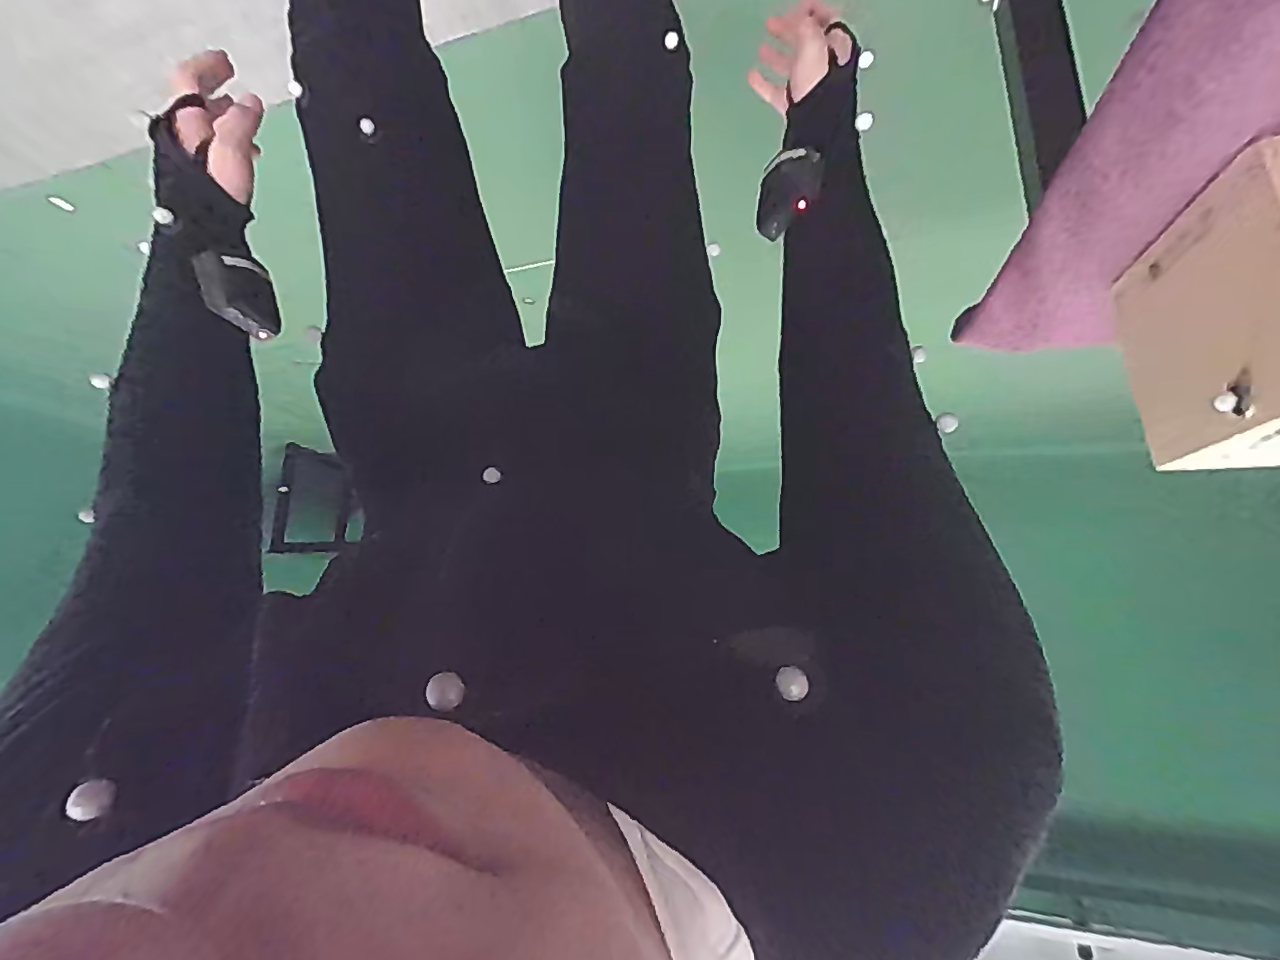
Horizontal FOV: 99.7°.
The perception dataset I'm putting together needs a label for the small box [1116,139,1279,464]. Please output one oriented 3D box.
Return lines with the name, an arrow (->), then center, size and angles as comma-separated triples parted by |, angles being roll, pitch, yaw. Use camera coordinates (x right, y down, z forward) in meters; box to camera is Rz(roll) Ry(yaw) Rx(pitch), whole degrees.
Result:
small box -> 0.476, -0.119, 0.357 | 0.179, 0.176, 0.168 | -5, 164, 14
